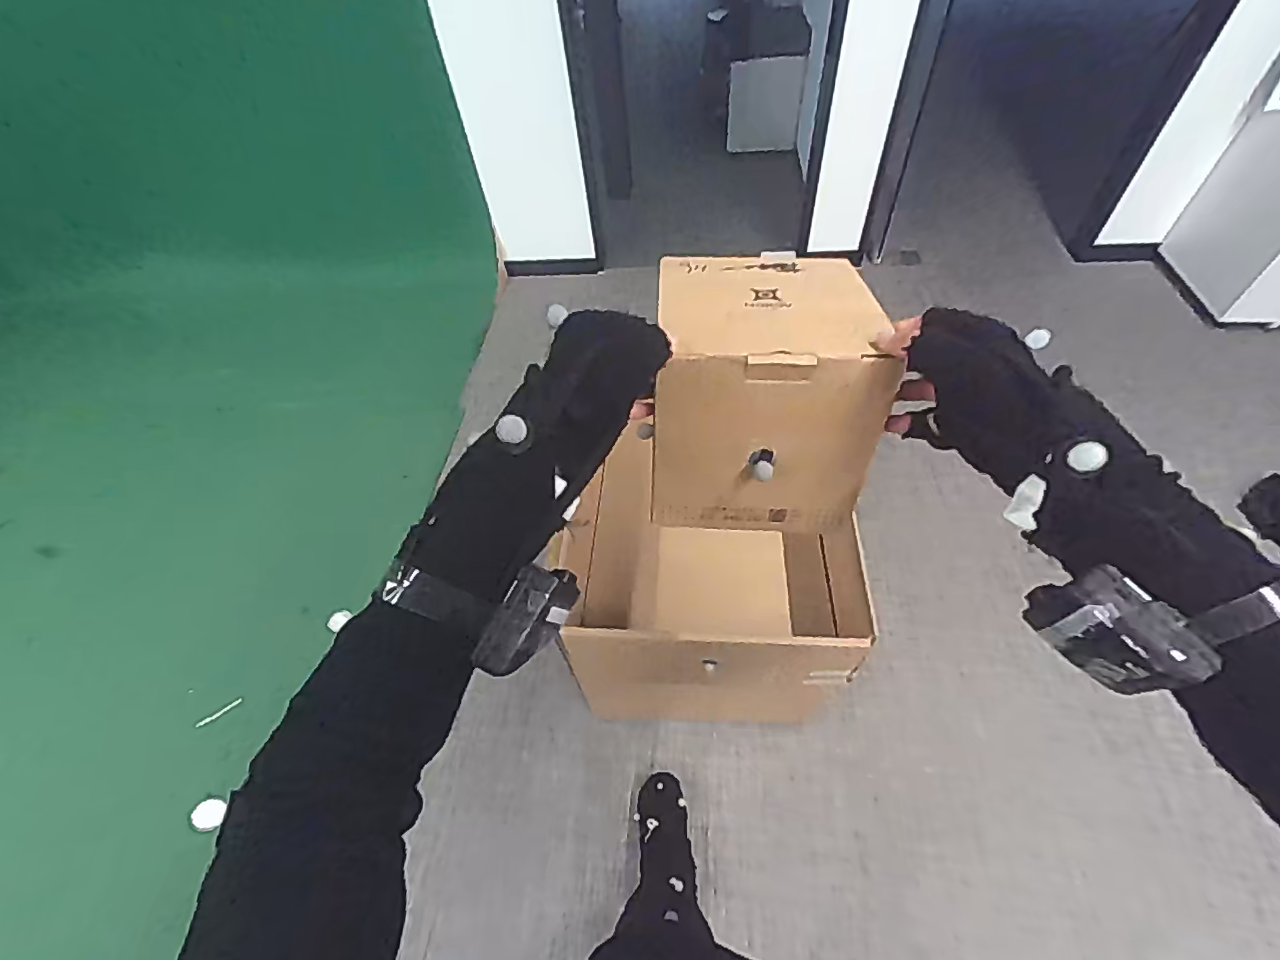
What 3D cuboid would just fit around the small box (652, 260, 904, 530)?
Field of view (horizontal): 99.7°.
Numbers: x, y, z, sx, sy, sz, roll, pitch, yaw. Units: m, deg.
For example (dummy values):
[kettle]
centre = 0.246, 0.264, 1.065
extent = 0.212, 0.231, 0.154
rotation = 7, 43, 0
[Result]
[small box]
centre = 0.096, -0.073, 0.466
extent = 0.168, 0.176, 0.179
rotation = 2, 43, 2
